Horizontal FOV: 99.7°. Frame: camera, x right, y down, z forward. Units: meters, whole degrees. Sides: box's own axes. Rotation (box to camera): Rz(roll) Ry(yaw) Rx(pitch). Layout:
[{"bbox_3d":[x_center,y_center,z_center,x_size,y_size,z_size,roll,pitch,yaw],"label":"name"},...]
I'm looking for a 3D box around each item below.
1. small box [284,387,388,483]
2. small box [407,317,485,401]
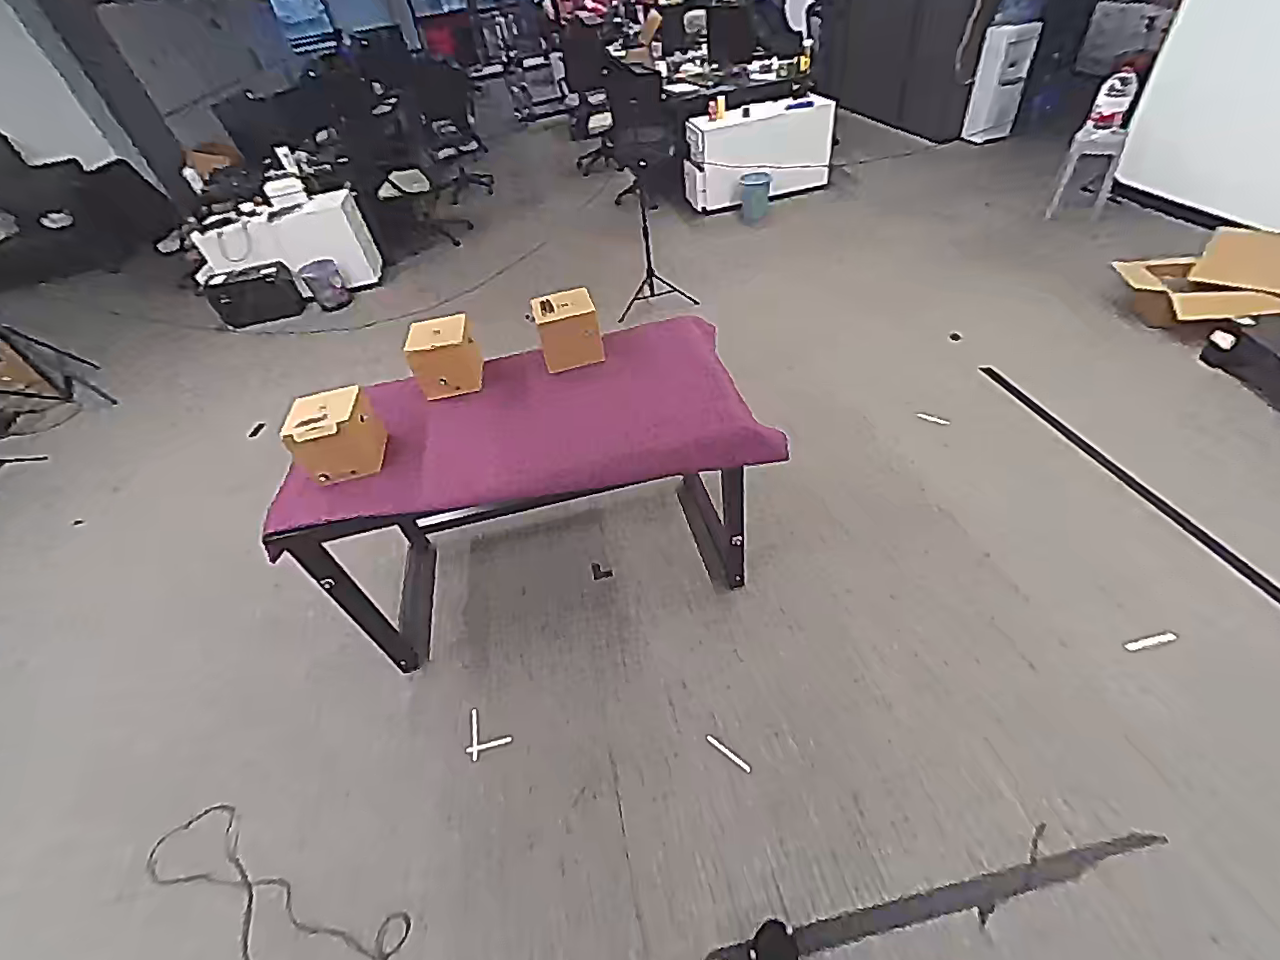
[{"bbox_3d":[-0.774,-0.110,1.401,0.168,0.176,0.179,-14,43,-5],"label":"small box"},{"bbox_3d":[-0.571,-0.361,1.617,0.168,0.176,0.179,-12,44,-2],"label":"small box"}]
